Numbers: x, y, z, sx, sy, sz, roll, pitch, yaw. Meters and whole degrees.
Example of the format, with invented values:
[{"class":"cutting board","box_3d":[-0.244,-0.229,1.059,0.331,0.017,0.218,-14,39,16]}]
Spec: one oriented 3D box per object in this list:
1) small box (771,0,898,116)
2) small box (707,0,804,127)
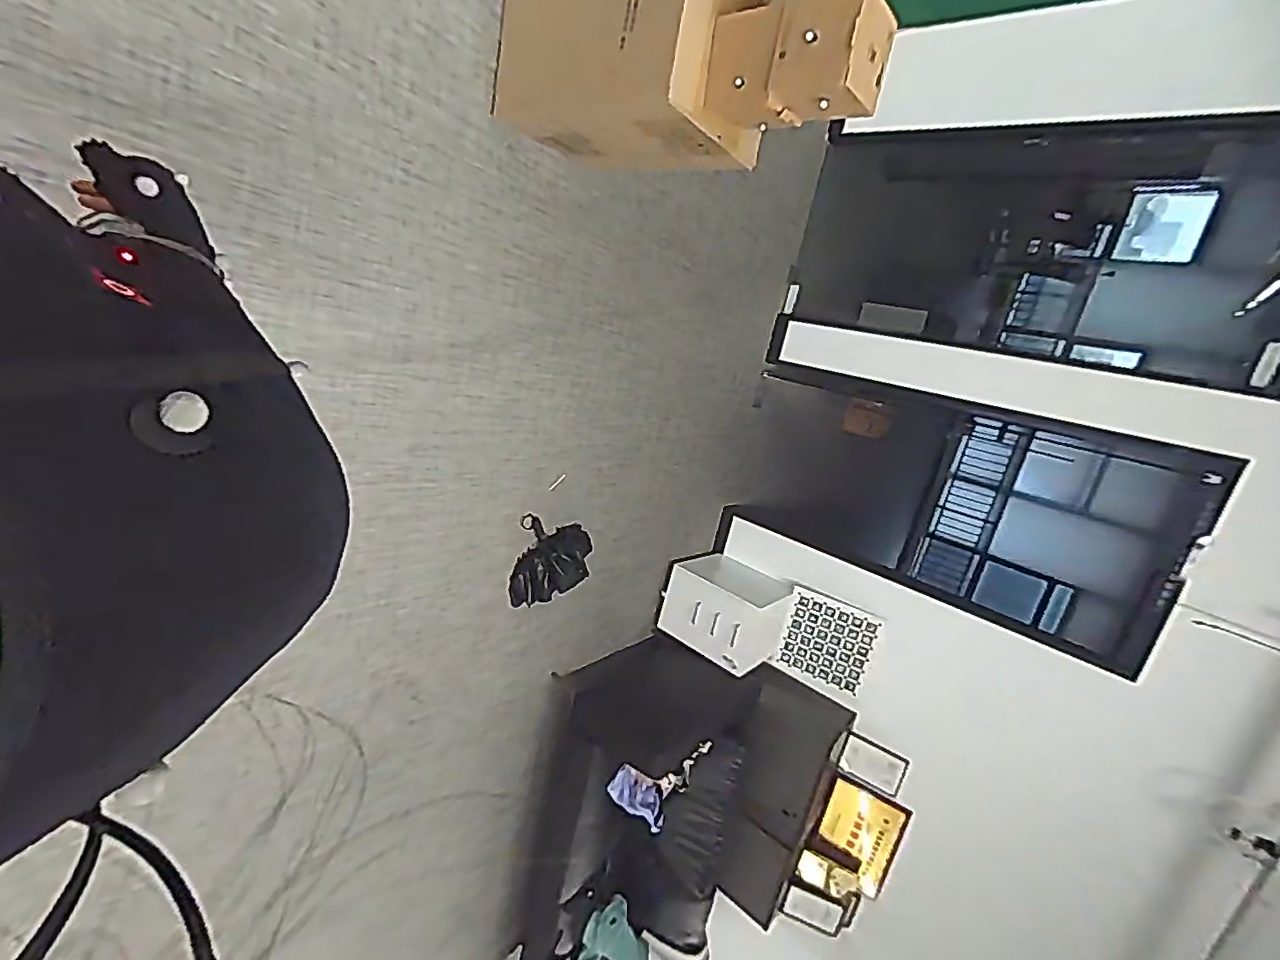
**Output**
[{"class":"small box","box_3d":[0.388,-0.858,1.092,0.179,0.176,0.168,-12,119,-48]},{"class":"small box","box_3d":[0.266,-0.901,1.193,0.168,0.176,0.179,-18,121,-46]}]
